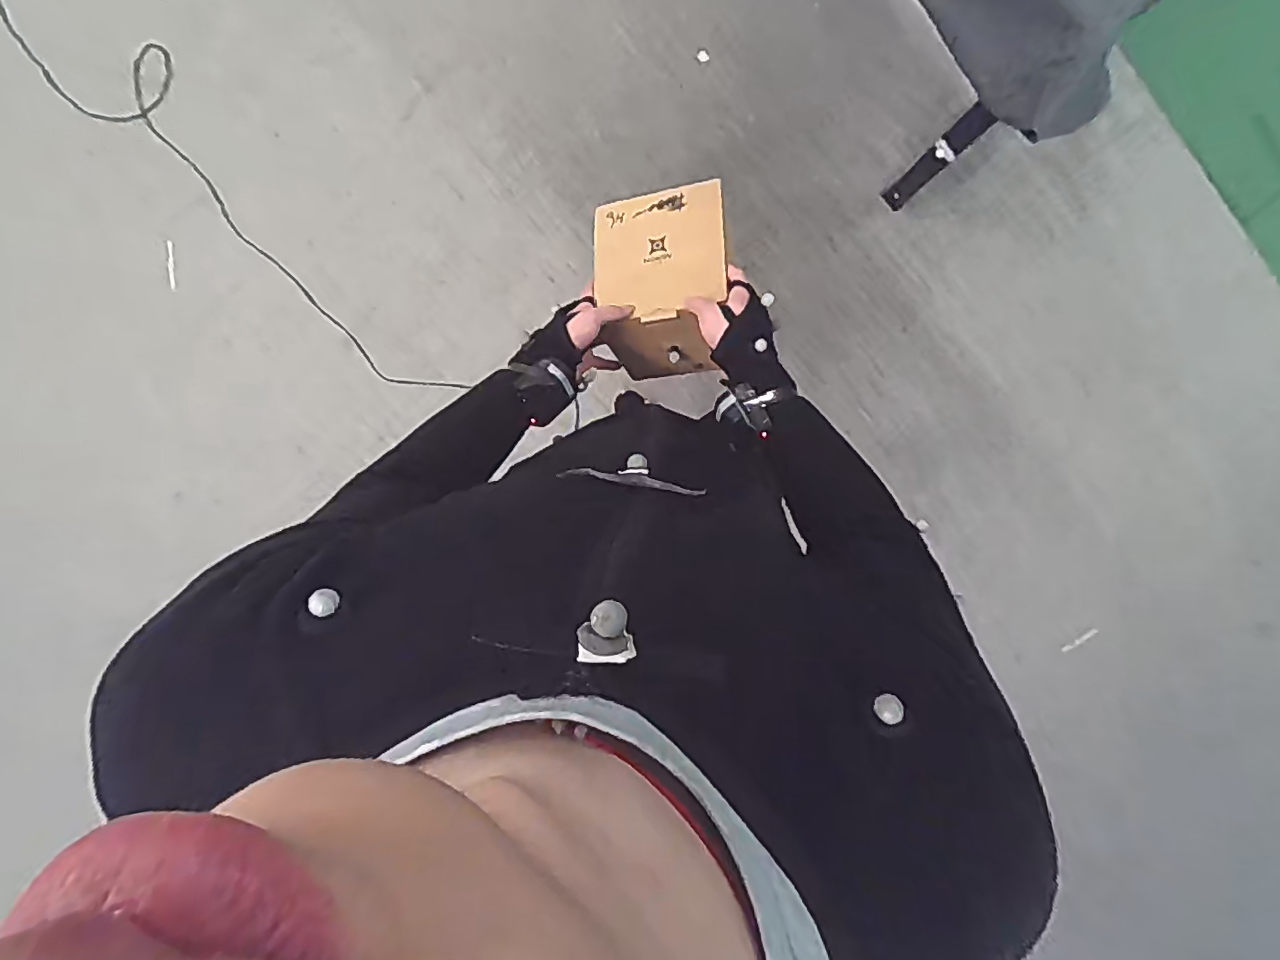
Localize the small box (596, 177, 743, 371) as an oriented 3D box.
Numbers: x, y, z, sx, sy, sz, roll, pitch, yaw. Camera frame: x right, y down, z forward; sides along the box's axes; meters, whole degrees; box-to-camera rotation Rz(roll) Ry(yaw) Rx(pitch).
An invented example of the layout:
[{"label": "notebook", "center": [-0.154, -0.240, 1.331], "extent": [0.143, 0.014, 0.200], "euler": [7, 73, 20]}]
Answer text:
[{"label": "small box", "center": [0.046, -0.261, 0.735], "extent": [0.168, 0.176, 0.179], "euler": [-5, 74, 15]}]
